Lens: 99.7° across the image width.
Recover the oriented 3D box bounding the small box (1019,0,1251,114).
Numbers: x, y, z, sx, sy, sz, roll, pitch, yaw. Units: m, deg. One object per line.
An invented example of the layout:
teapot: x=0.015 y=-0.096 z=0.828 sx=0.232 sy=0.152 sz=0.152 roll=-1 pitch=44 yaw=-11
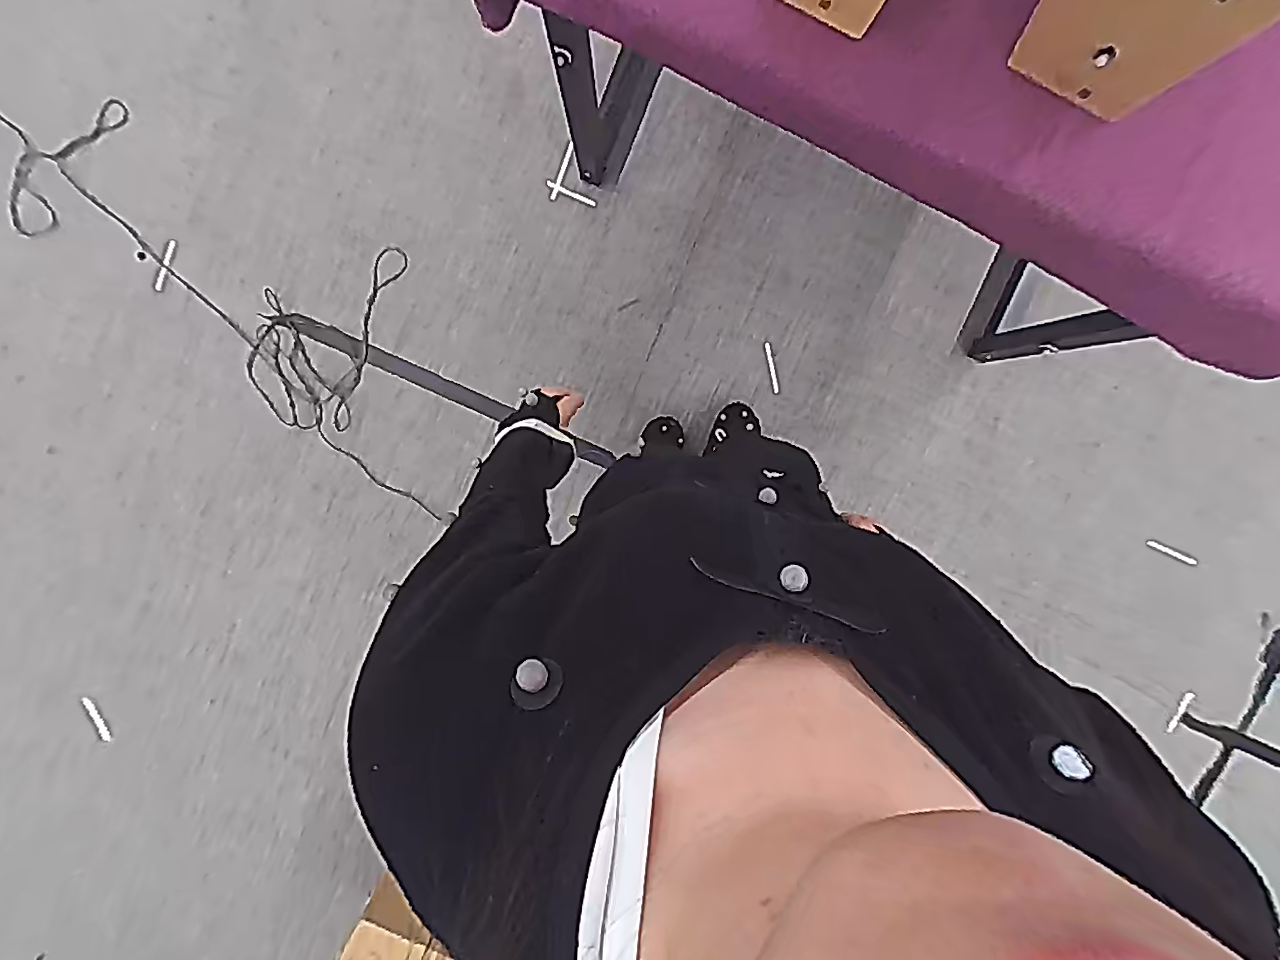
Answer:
small box: x=0.590 y=-0.576 z=0.624 sx=0.168 sy=0.176 sz=0.179 roll=26 pitch=96 yaw=-4

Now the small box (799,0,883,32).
small box: x=0.248 y=-0.672 z=0.609 sx=0.168 sy=0.176 sz=0.179 roll=24 pitch=95 yaw=-4
